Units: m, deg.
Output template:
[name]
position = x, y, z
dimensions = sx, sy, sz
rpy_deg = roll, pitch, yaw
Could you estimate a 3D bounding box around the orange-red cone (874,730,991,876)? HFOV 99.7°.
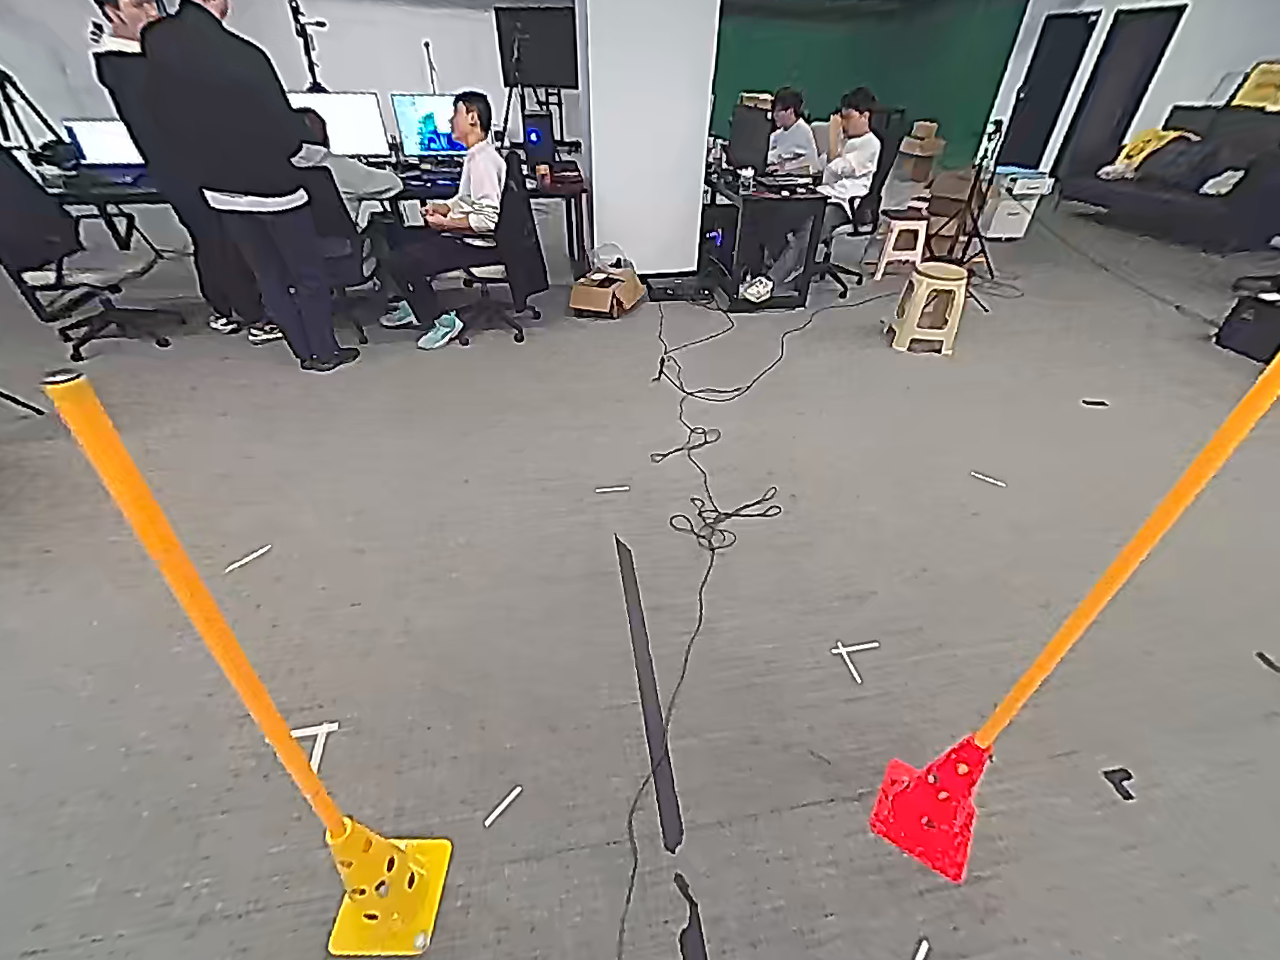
[orange-red cone]
position = 0.666, 0.643, 1.155
dimensions = 0.198, 0.360, 0.199
rpy_deg = 23, 44, 28
